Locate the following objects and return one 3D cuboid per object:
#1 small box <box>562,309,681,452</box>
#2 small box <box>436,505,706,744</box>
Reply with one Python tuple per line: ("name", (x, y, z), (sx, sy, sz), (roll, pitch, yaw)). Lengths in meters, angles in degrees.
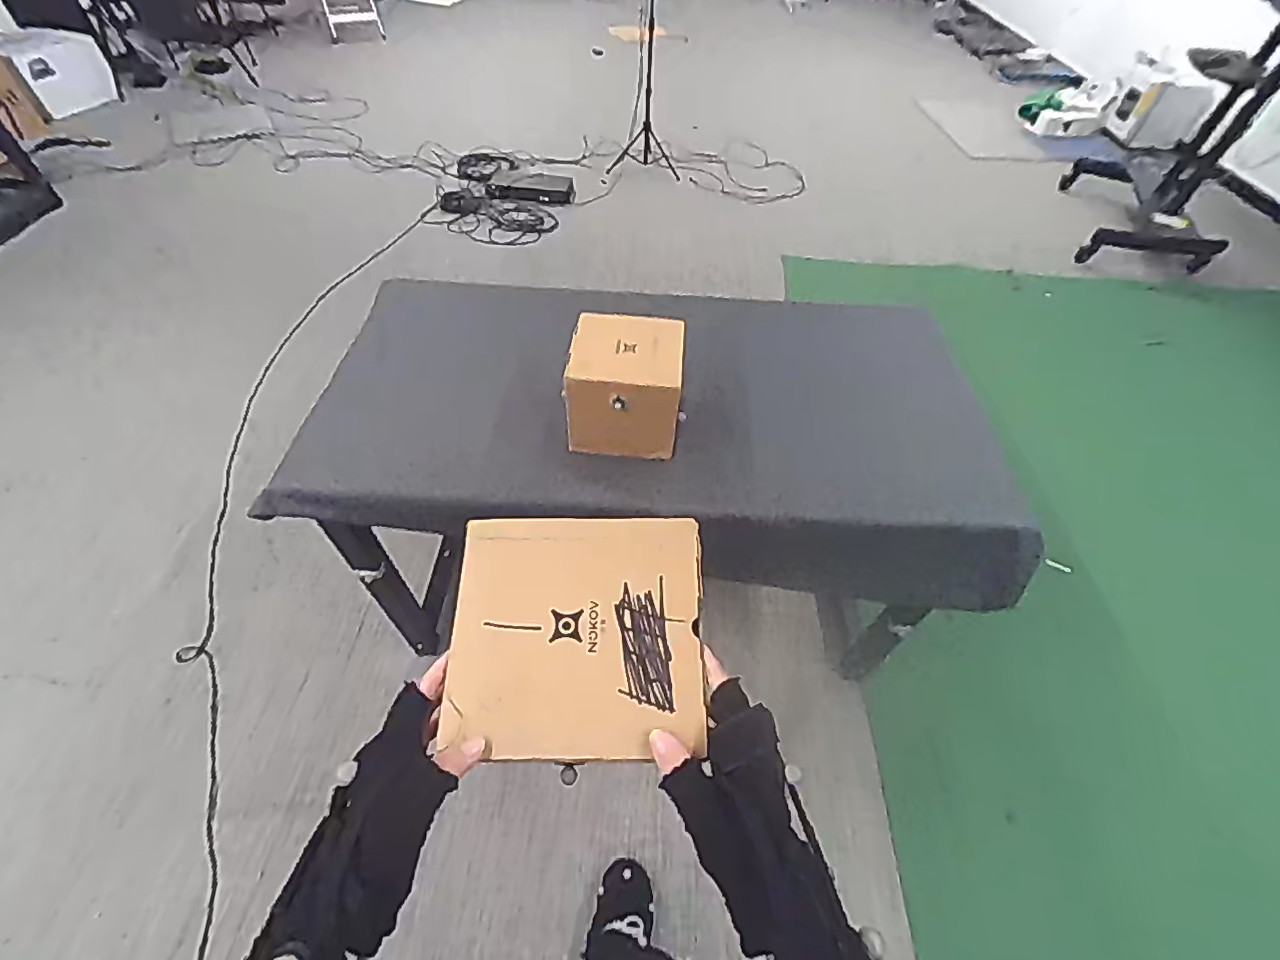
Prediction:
("small box", (-0.026, -0.162, 0.904), (0.179, 0.176, 0.168), (4, 52, 1))
("small box", (-0.045, 0.128, 0.453), (0.179, 0.176, 0.168), (-1, 64, 0))
